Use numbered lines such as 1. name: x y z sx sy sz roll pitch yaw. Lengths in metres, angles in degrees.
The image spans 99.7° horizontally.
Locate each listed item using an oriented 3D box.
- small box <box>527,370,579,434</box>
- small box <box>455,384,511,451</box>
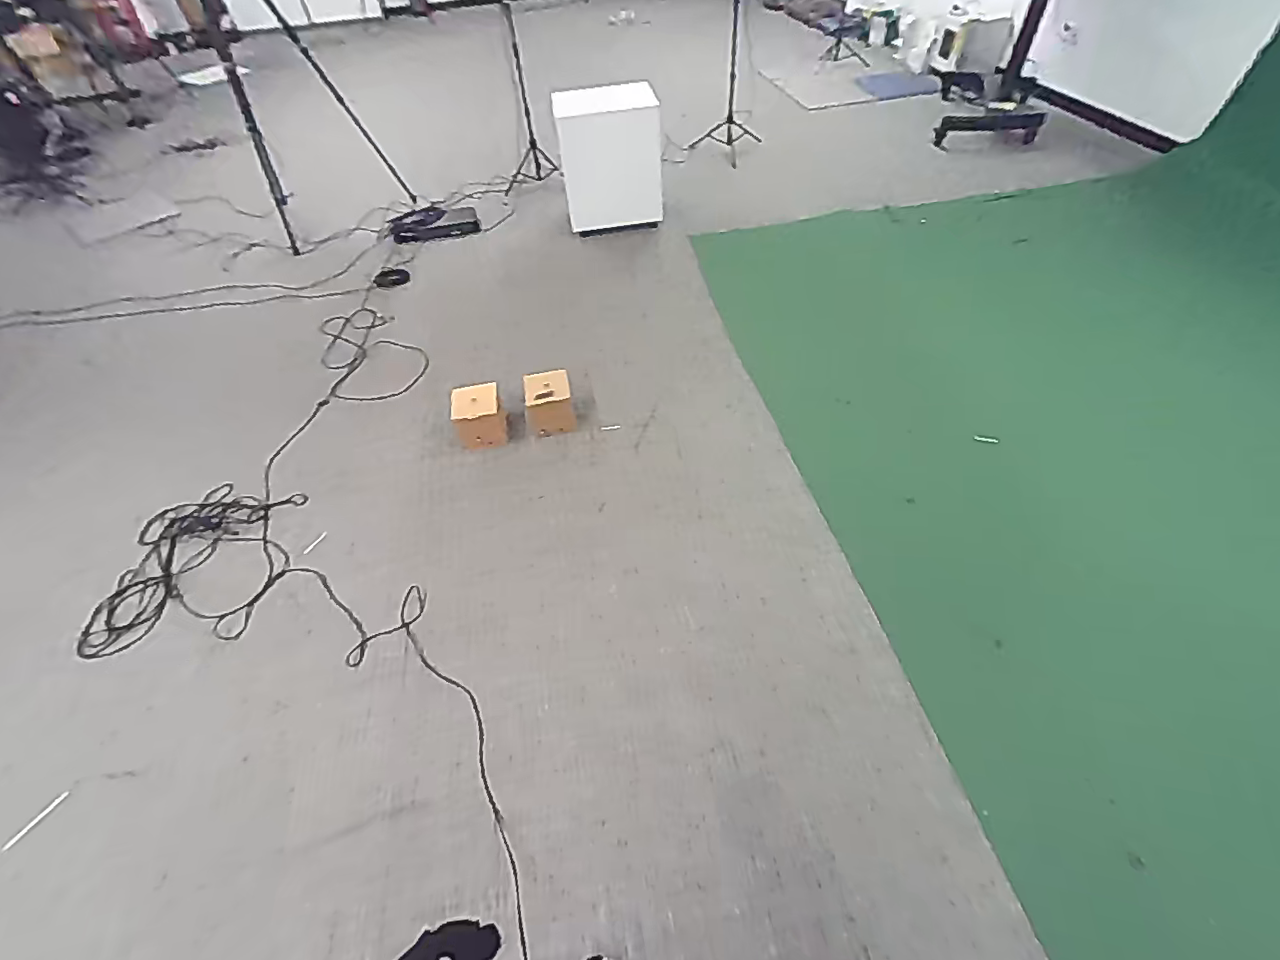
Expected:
1. small box: -0.332 -0.292 2.079 0.168 0.176 0.179 -11 50 -4
2. small box: -0.592 -0.238 2.058 0.168 0.176 0.179 -11 51 -4
